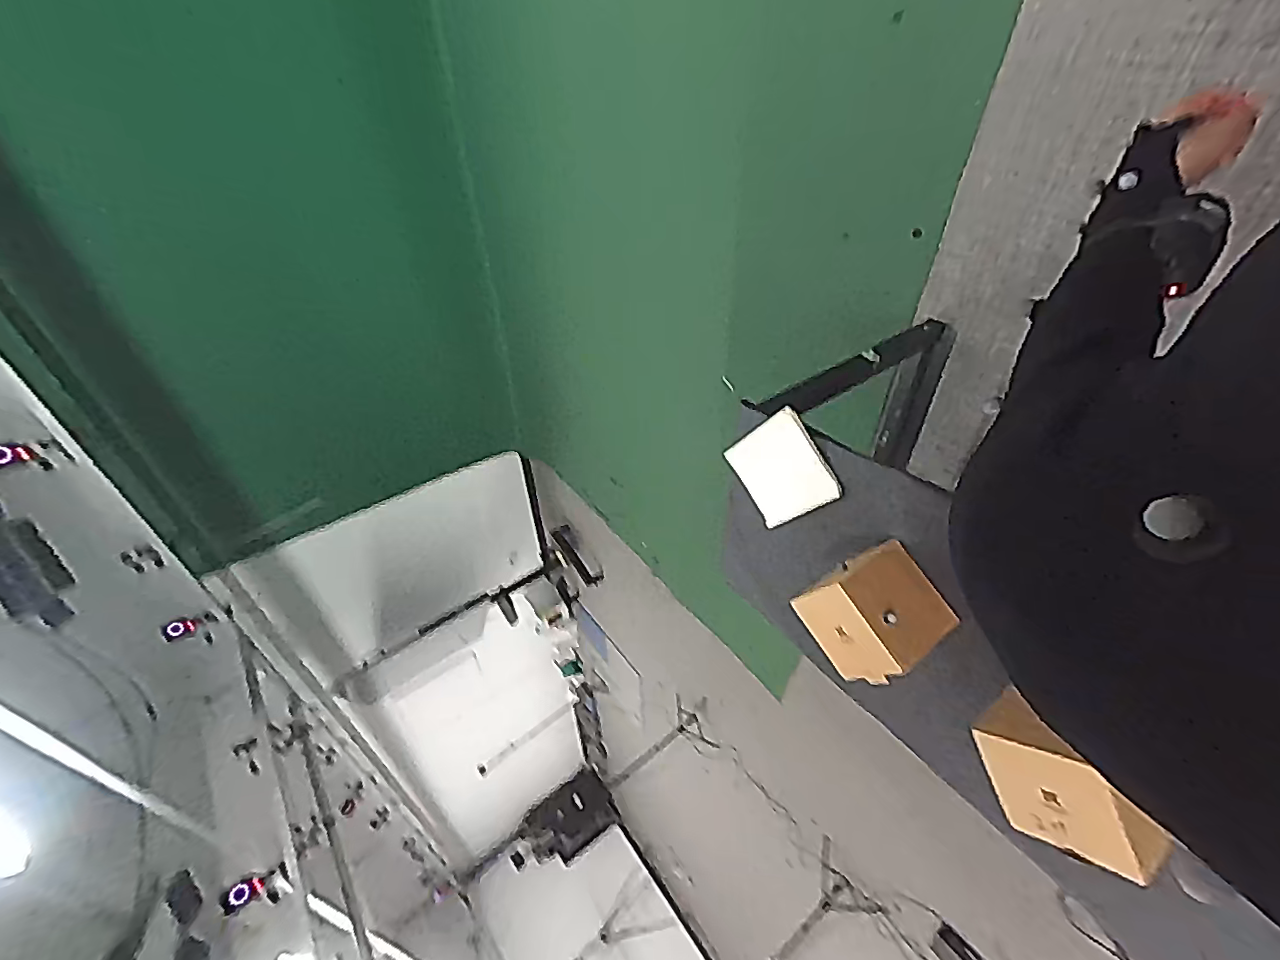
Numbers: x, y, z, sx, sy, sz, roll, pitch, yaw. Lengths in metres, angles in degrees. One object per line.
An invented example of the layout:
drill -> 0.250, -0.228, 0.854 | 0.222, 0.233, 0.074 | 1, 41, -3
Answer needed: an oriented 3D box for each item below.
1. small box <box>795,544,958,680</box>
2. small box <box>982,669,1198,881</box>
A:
small box -> 0.430, 0.236, 0.992 | 0.179, 0.176, 0.168 | 55, 153, 12
small box -> 0.638, 0.399, 0.772 | 0.168, 0.176, 0.179 | -15, 101, 63
